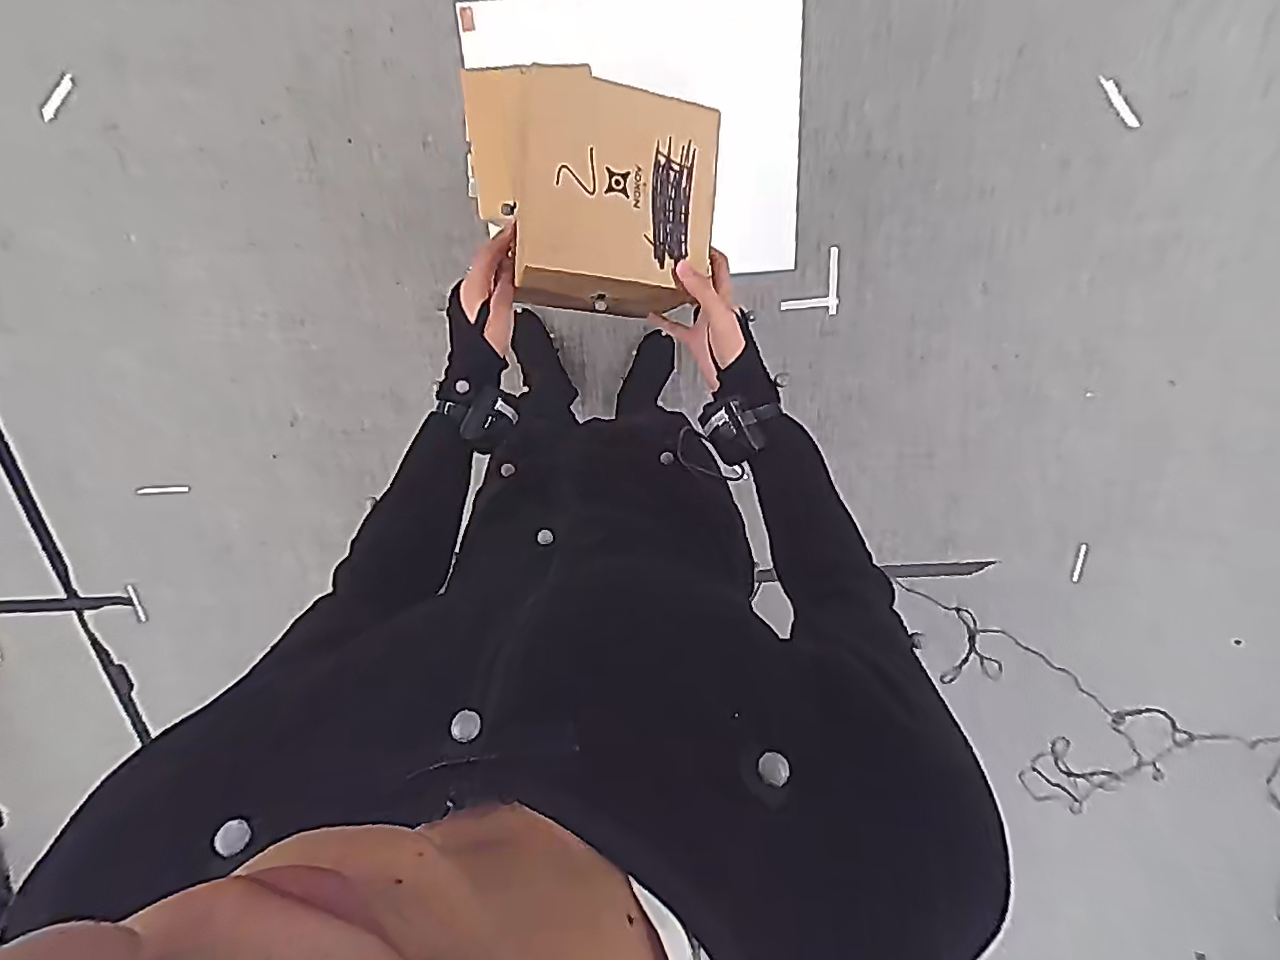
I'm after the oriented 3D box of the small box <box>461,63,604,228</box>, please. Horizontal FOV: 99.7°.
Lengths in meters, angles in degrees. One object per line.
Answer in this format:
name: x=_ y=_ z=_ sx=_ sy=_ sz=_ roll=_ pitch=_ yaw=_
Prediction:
small box: x=-0.141 y=-0.465 z=0.779 sx=0.168 sy=0.176 sz=0.179 roll=-3 pitch=110 yaw=-1
